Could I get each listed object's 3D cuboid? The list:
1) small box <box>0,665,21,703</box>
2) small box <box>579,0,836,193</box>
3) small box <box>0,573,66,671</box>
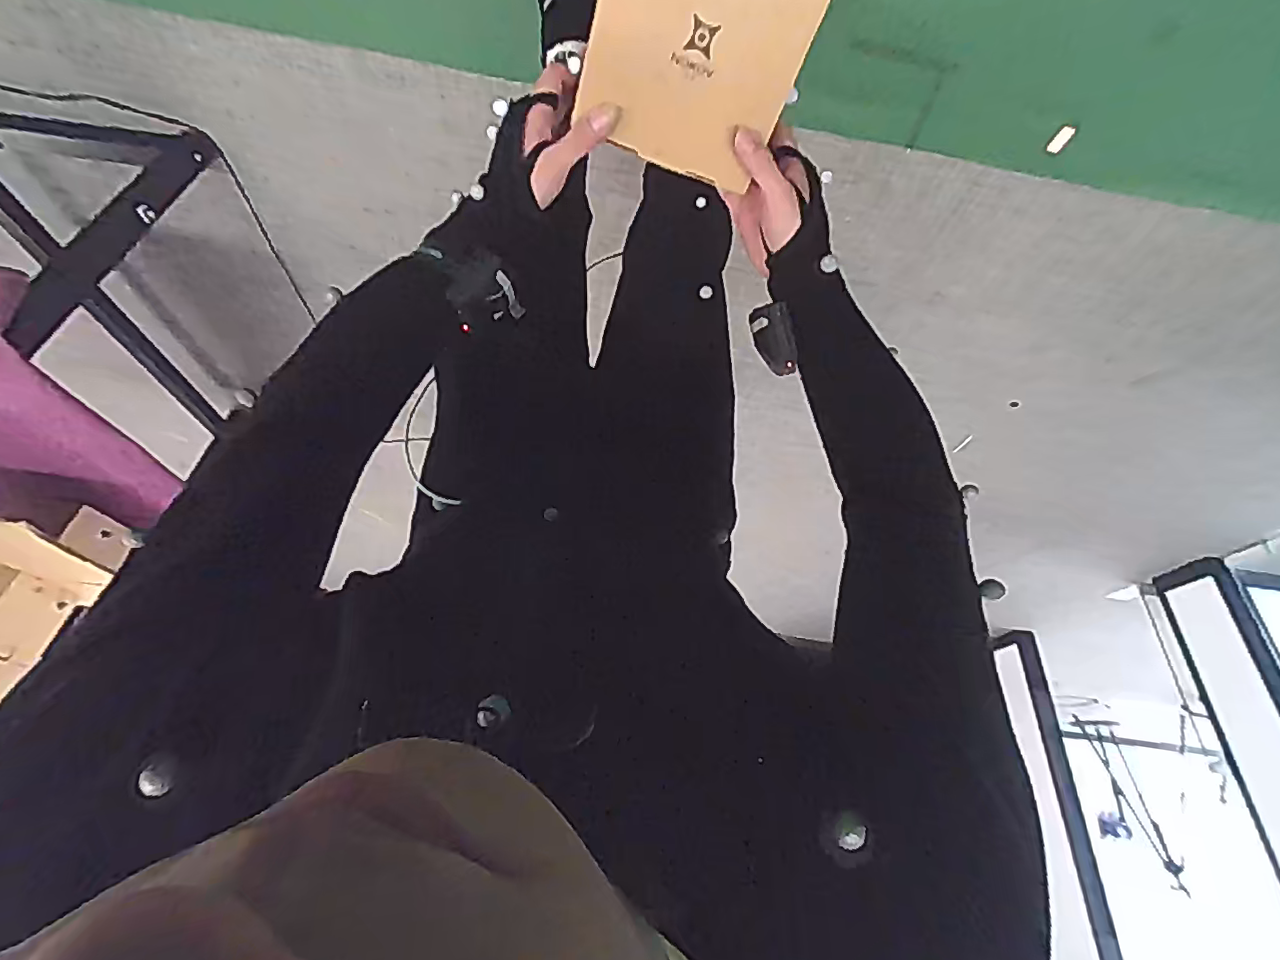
[{"bbox_3d":[-1.445,0.438,1.085,0.179,0.176,0.168,6,147,0],"label":"small box"},{"bbox_3d":[0.050,-0.393,0.473,0.168,0.176,0.179,13,134,-13],"label":"small box"},{"bbox_3d":[-1.426,0.302,1.175,0.179,0.176,0.168,7,146,0],"label":"small box"}]
